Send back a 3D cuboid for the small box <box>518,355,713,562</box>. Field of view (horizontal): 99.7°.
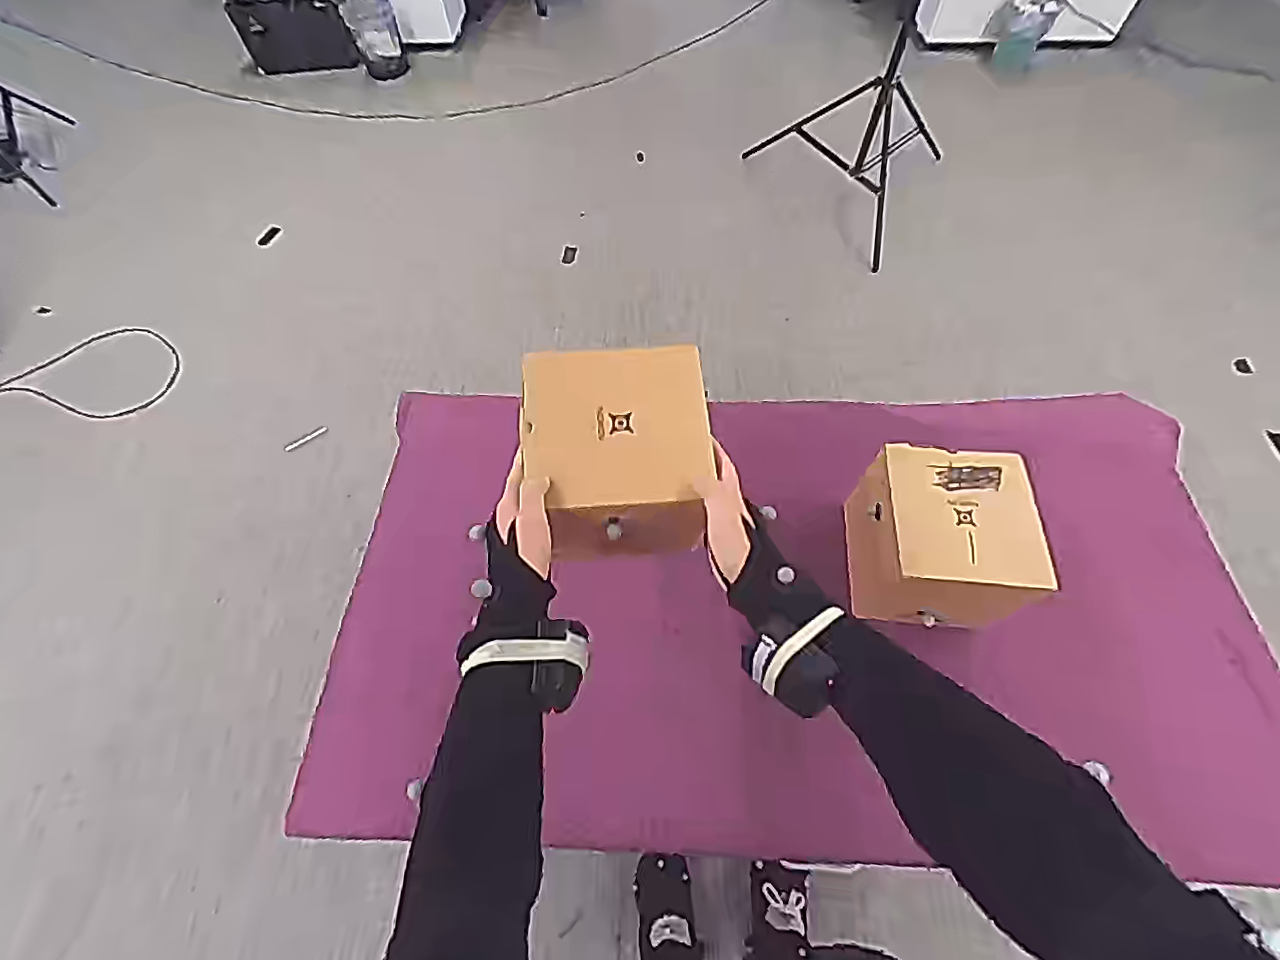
[{"bbox_3d":[-0.028,-0.015,0.580,0.179,0.176,0.168,-4,67,-3],"label":"small box"}]

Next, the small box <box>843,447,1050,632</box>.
[{"bbox_3d":[0.371,0.081,0.696,0.168,0.176,0.179,5,61,4],"label":"small box"}]
